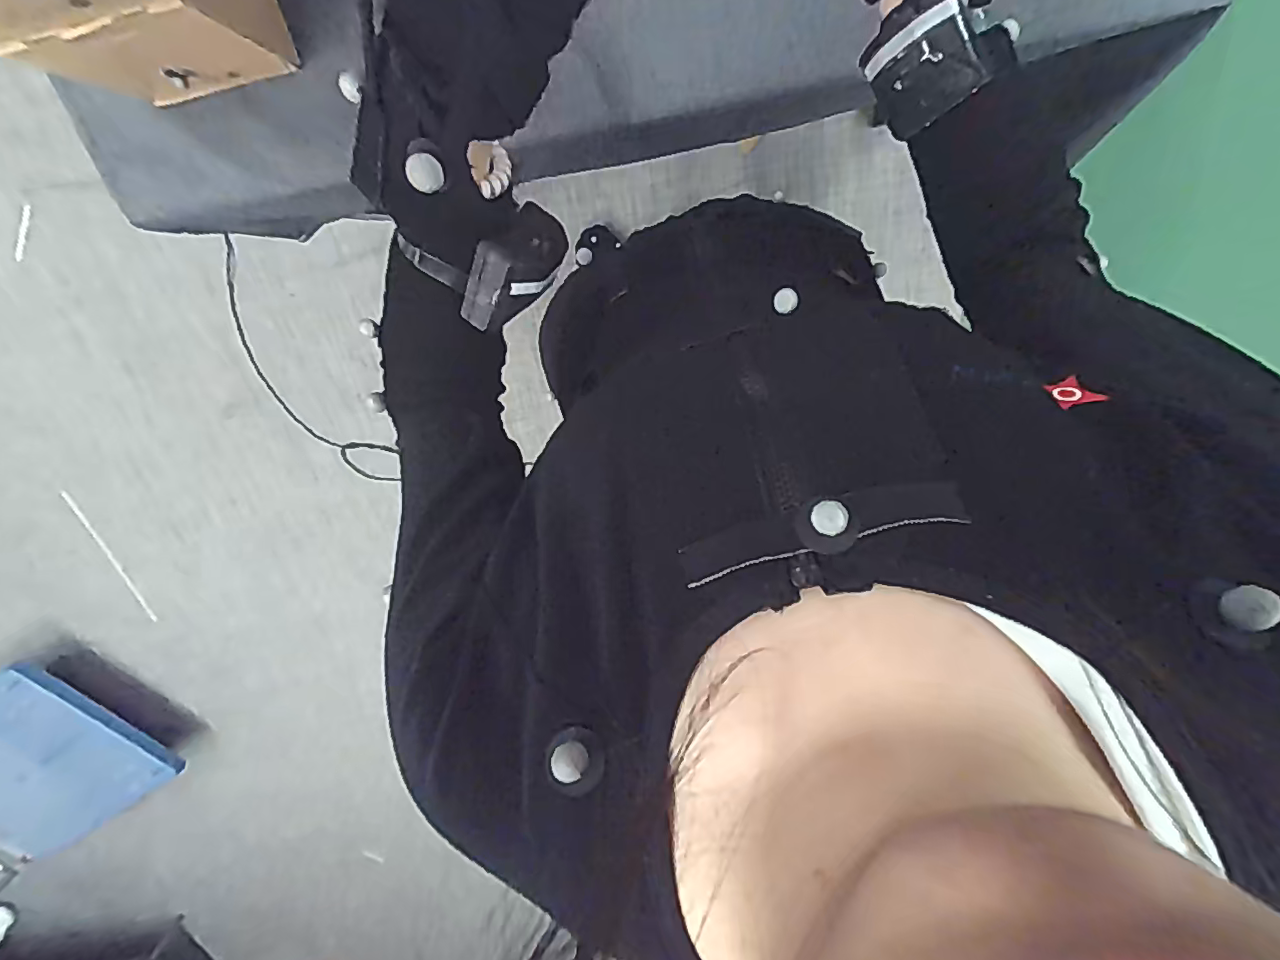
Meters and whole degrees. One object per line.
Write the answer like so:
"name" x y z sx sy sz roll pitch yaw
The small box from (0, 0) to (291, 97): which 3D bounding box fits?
"small box" -0.445 -0.457 0.452 0.168 0.176 0.179 -12 114 3
